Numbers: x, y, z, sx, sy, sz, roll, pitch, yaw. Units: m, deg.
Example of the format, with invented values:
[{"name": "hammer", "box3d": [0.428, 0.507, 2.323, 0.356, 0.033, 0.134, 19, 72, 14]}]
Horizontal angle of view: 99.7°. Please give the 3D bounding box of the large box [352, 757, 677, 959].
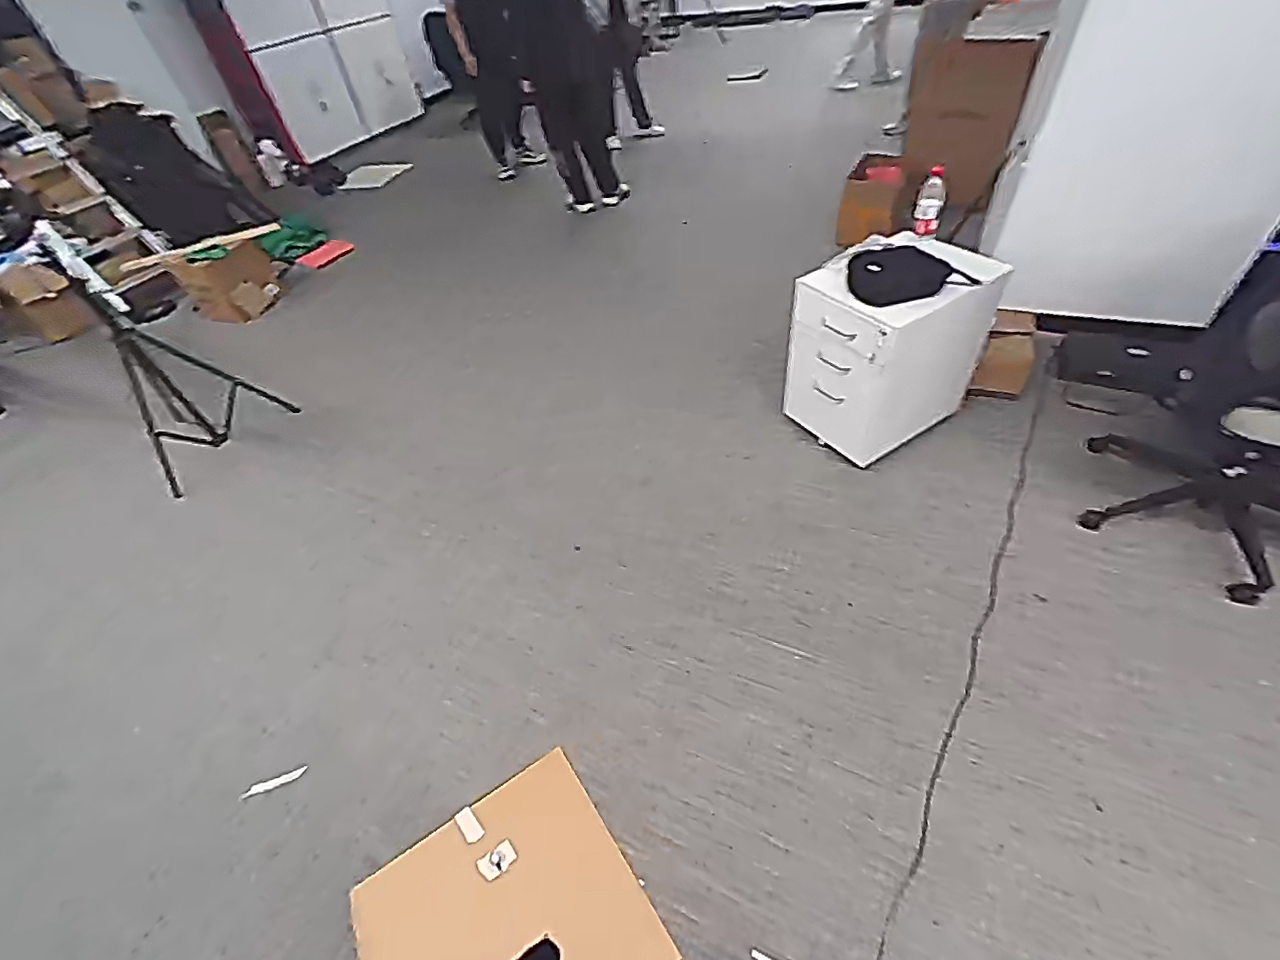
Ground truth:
[{"name": "large box", "box3d": [-0.136, 0.688, 0.755, 0.320, 0.408, 0.320, -28, 37, -22]}]
